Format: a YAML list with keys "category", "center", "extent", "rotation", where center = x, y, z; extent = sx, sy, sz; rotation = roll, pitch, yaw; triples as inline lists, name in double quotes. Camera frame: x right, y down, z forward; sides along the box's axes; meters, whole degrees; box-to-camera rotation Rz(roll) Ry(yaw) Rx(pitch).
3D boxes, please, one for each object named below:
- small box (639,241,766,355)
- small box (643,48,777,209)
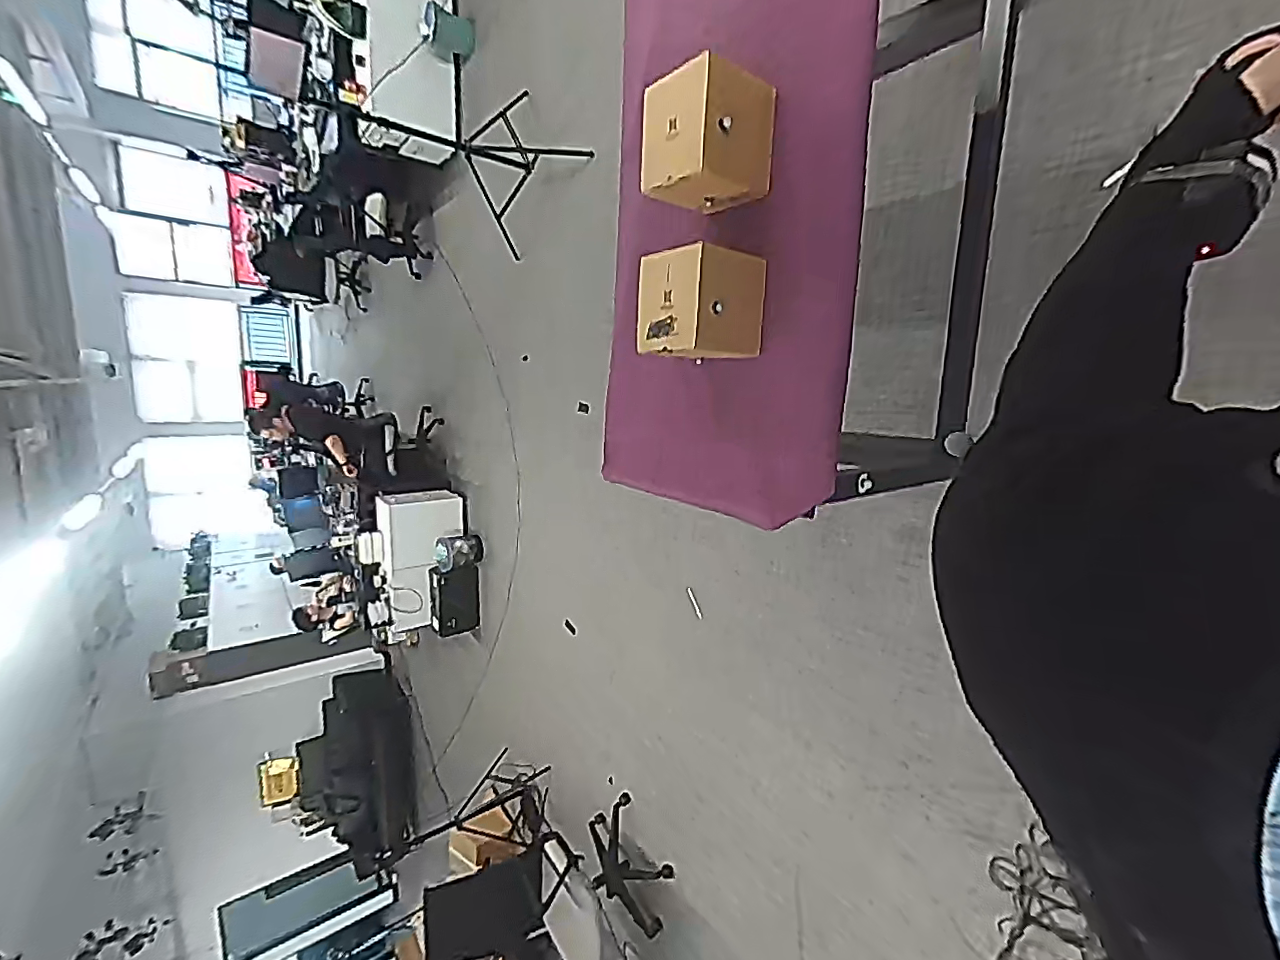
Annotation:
- category: "small box"
  center: [0.117, -0.326, 1.007]
  extent: [0.168, 0.176, 0.179]
  rotation: [15, 106, 51]
- category: "small box"
  center: [0.125, -0.608, 0.963]
  extent: [0.168, 0.176, 0.179]
  rotation: [16, 108, 51]
